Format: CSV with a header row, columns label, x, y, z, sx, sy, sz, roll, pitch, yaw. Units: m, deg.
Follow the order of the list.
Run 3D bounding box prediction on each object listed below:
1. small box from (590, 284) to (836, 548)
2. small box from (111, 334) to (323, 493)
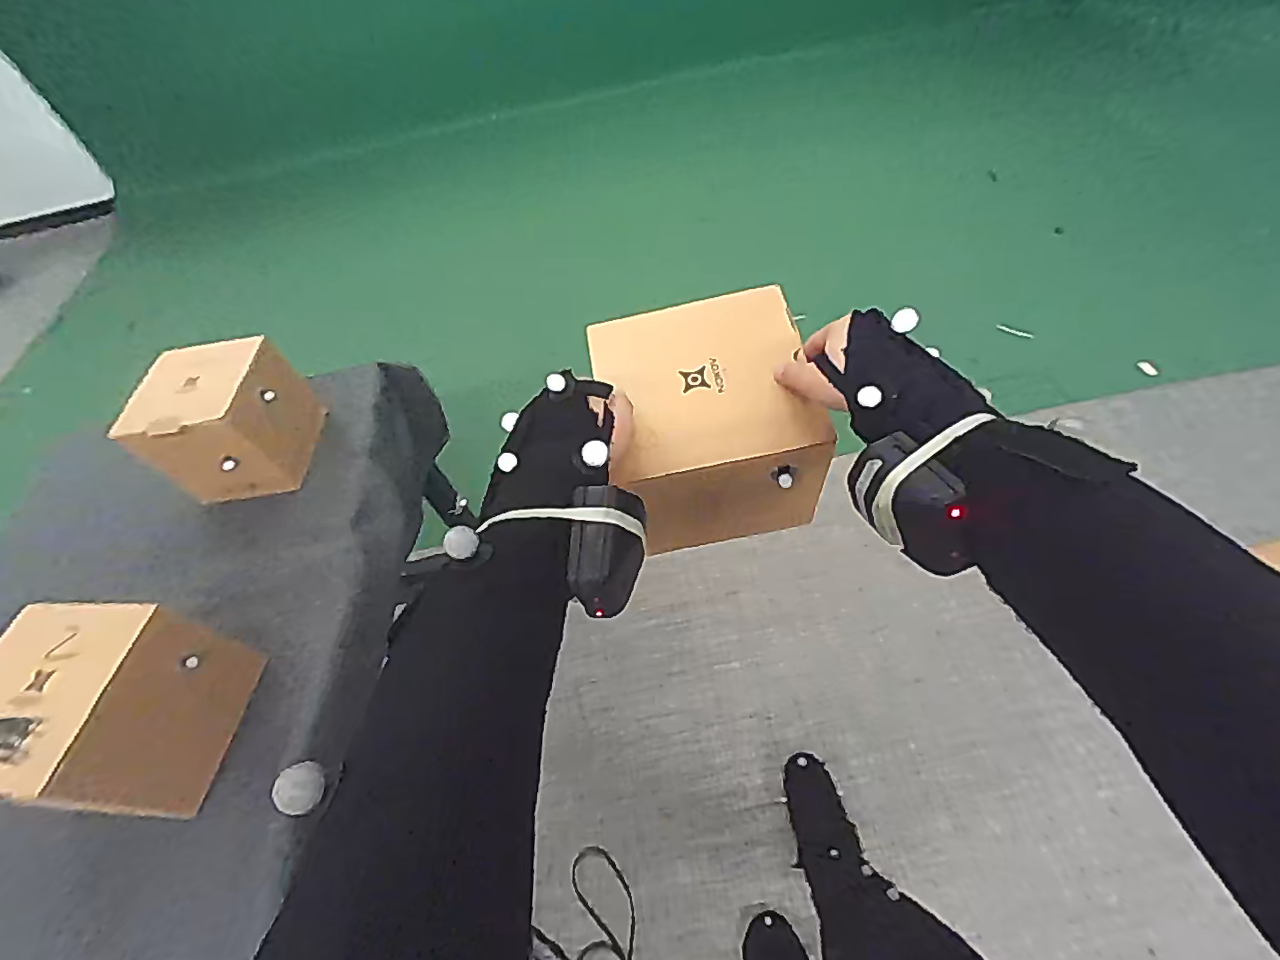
label,x,y,z,sx,sy,sz,roll,pitch,yaw
small box,0.062,-0.048,0.510,0.179,0.176,0.168,-11,62,3
small box,-0.628,-0.094,0.834,0.168,0.176,0.179,-8,53,3
